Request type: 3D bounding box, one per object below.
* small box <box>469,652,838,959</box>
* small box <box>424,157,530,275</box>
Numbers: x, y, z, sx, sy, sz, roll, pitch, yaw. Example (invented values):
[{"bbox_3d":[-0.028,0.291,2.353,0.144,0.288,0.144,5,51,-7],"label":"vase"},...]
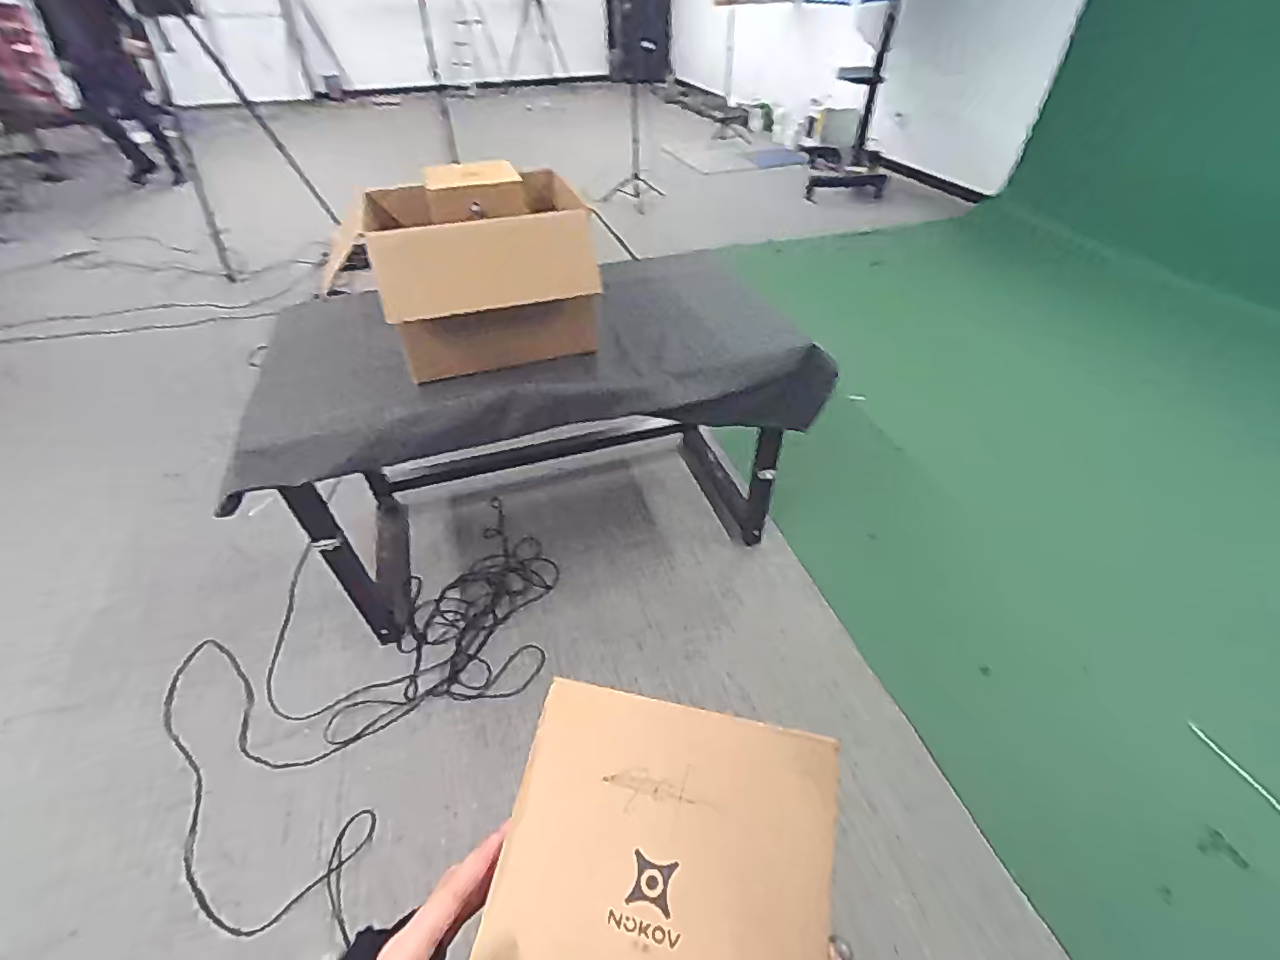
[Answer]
[{"bbox_3d":[0.025,0.226,0.335,0.168,0.176,0.179,5,61,16],"label":"small box"},{"bbox_3d":[-0.327,-0.539,1.104,0.179,0.176,0.168,-14,45,-14],"label":"small box"}]
